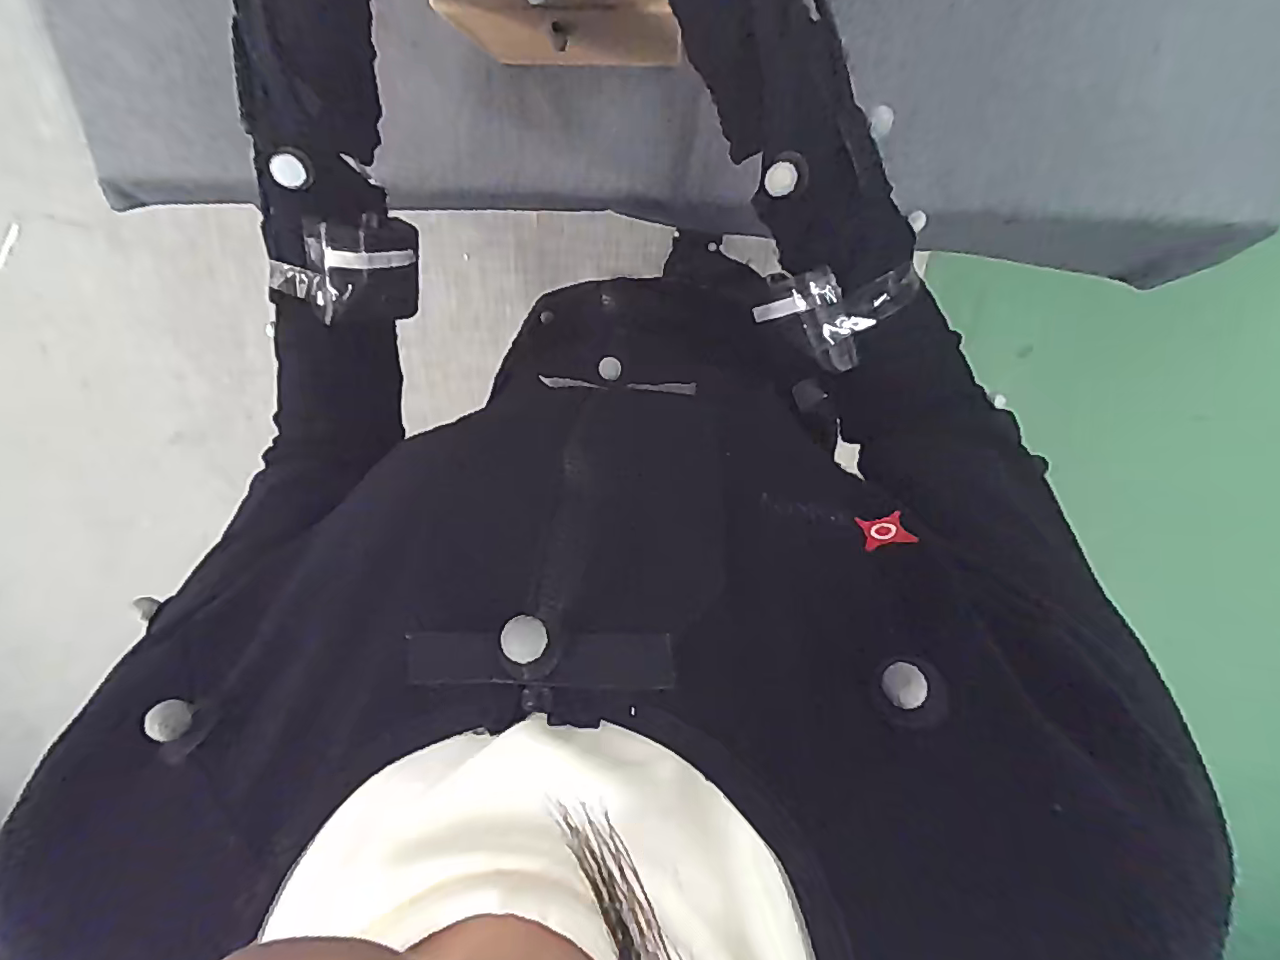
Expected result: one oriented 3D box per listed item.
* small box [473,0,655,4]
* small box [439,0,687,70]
[{"bbox_3d":[-0.059,-0.367,0.268,0.168,0.176,0.179,1,118,4],"label":"small box"},{"bbox_3d":[-0.049,-0.434,0.416,0.179,0.176,0.168,2,117,2],"label":"small box"}]
